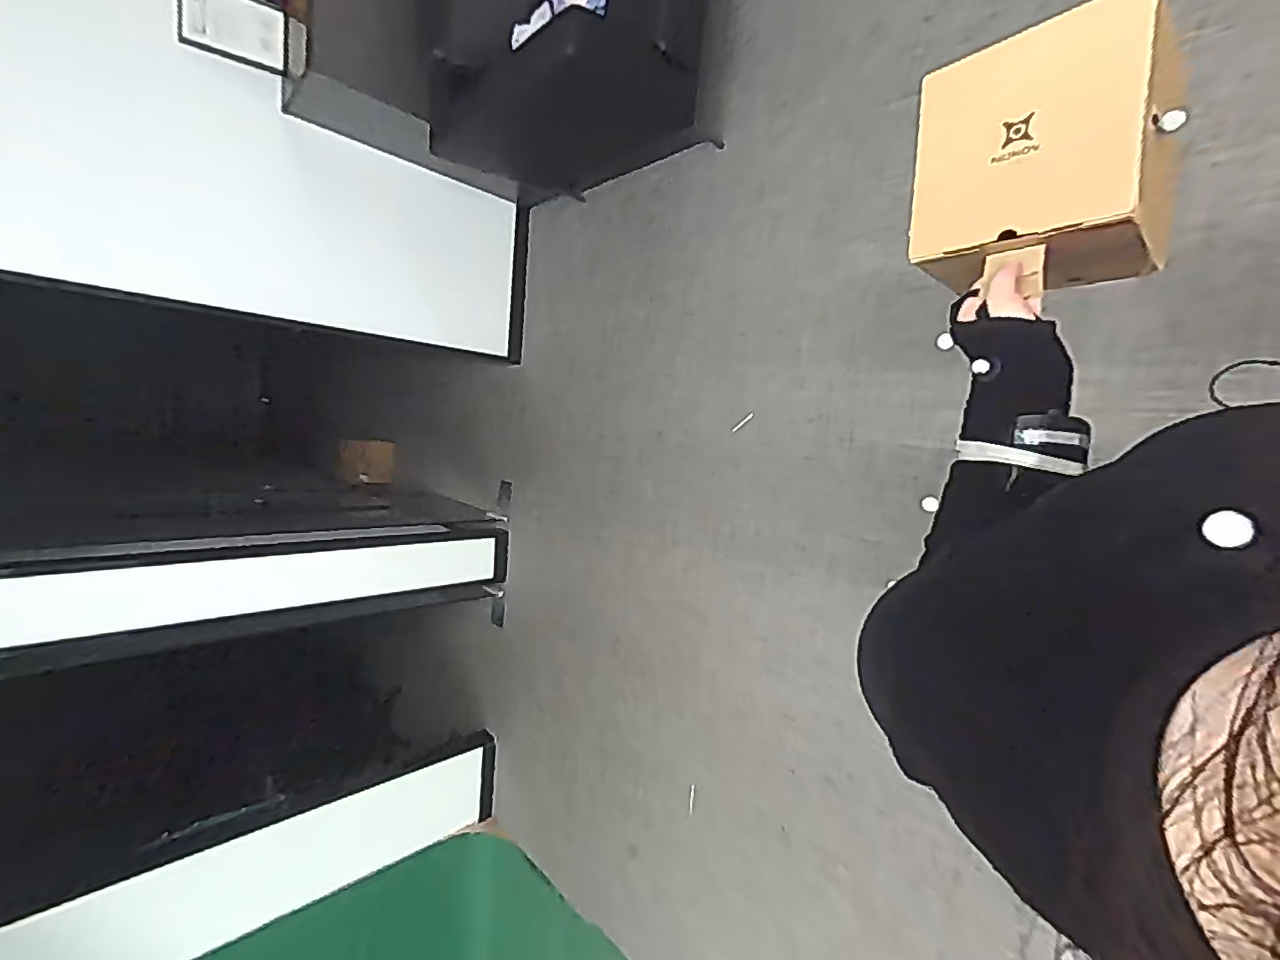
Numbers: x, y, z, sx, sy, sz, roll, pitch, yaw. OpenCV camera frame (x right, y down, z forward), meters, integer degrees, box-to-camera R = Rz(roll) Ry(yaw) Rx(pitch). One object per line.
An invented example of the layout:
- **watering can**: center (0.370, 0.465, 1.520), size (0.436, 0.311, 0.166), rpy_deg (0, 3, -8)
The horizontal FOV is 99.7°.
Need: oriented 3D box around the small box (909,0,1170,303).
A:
- **small box**: center (0.380, -0.285, 0.516), size (0.168, 0.176, 0.179), rpy_deg (7, 96, 47)
